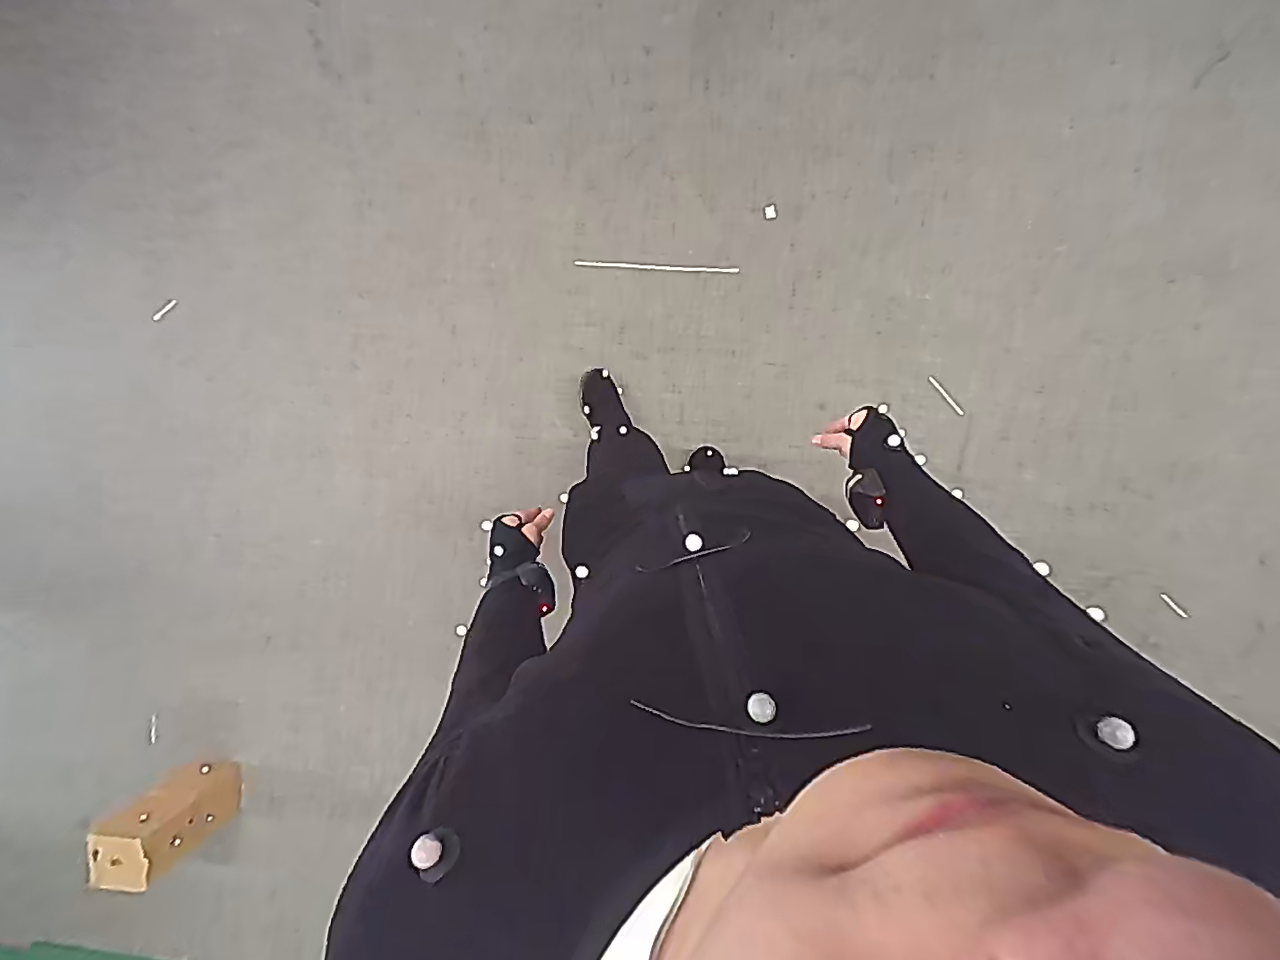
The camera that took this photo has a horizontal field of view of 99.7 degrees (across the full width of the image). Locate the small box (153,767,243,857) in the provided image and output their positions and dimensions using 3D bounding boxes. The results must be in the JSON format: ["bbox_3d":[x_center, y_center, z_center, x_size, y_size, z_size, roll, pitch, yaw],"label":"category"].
[{"bbox_3d":[-1.435,1.077,1.762,0.168,0.176,0.179,4,94,5],"label":"small box"}]

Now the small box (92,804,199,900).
[{"bbox_3d":[-1.450,1.094,1.600,0.179,0.176,0.168,1,94,4],"label":"small box"}]
